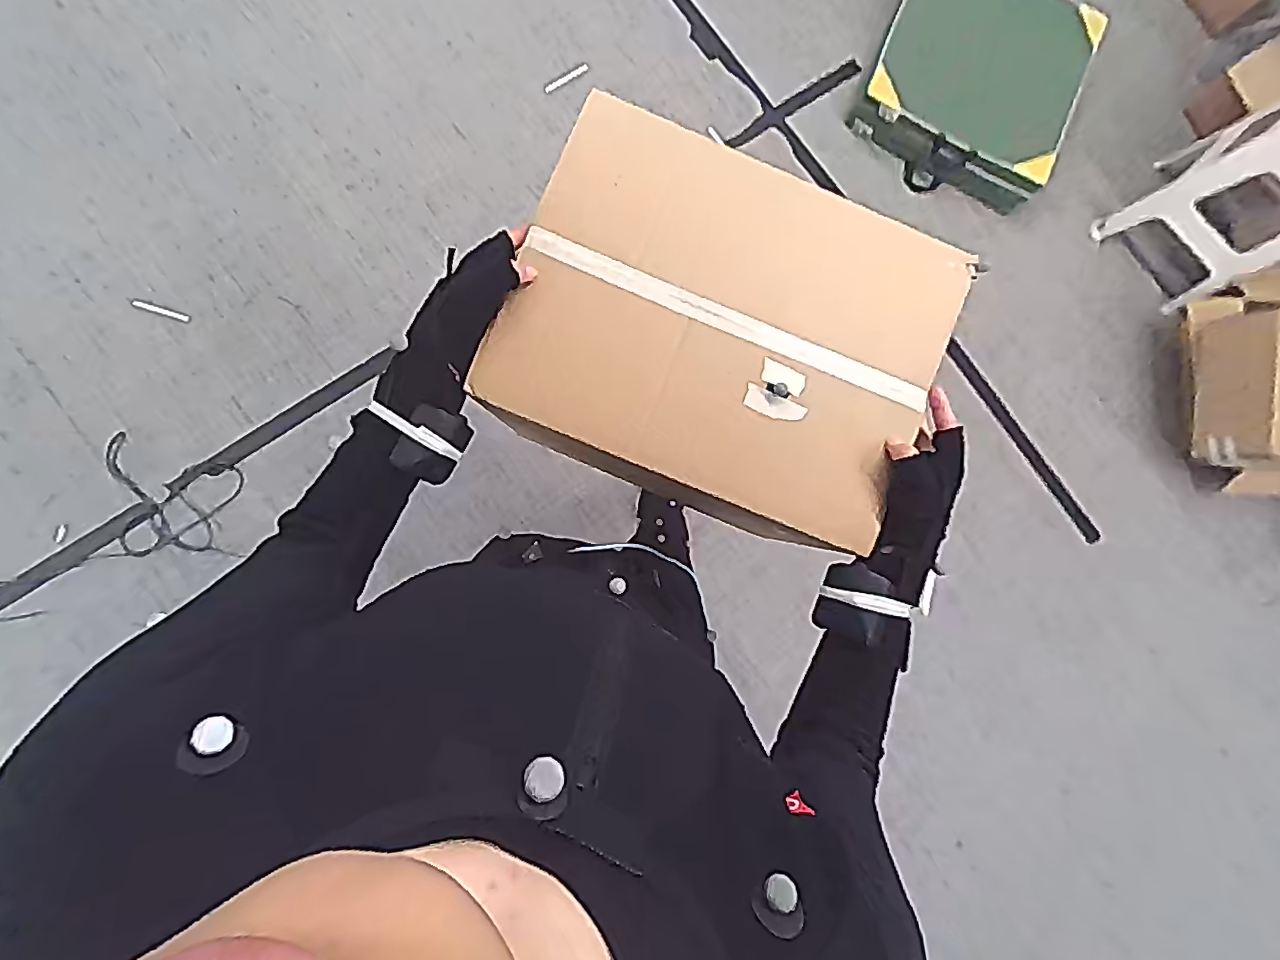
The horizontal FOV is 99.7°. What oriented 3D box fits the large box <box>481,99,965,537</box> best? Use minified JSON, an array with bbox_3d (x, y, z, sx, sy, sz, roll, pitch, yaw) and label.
[{"bbox_3d":[0.076,-0.150,0.668,0.408,0.320,0.320,23,87,-3],"label":"large box"}]
